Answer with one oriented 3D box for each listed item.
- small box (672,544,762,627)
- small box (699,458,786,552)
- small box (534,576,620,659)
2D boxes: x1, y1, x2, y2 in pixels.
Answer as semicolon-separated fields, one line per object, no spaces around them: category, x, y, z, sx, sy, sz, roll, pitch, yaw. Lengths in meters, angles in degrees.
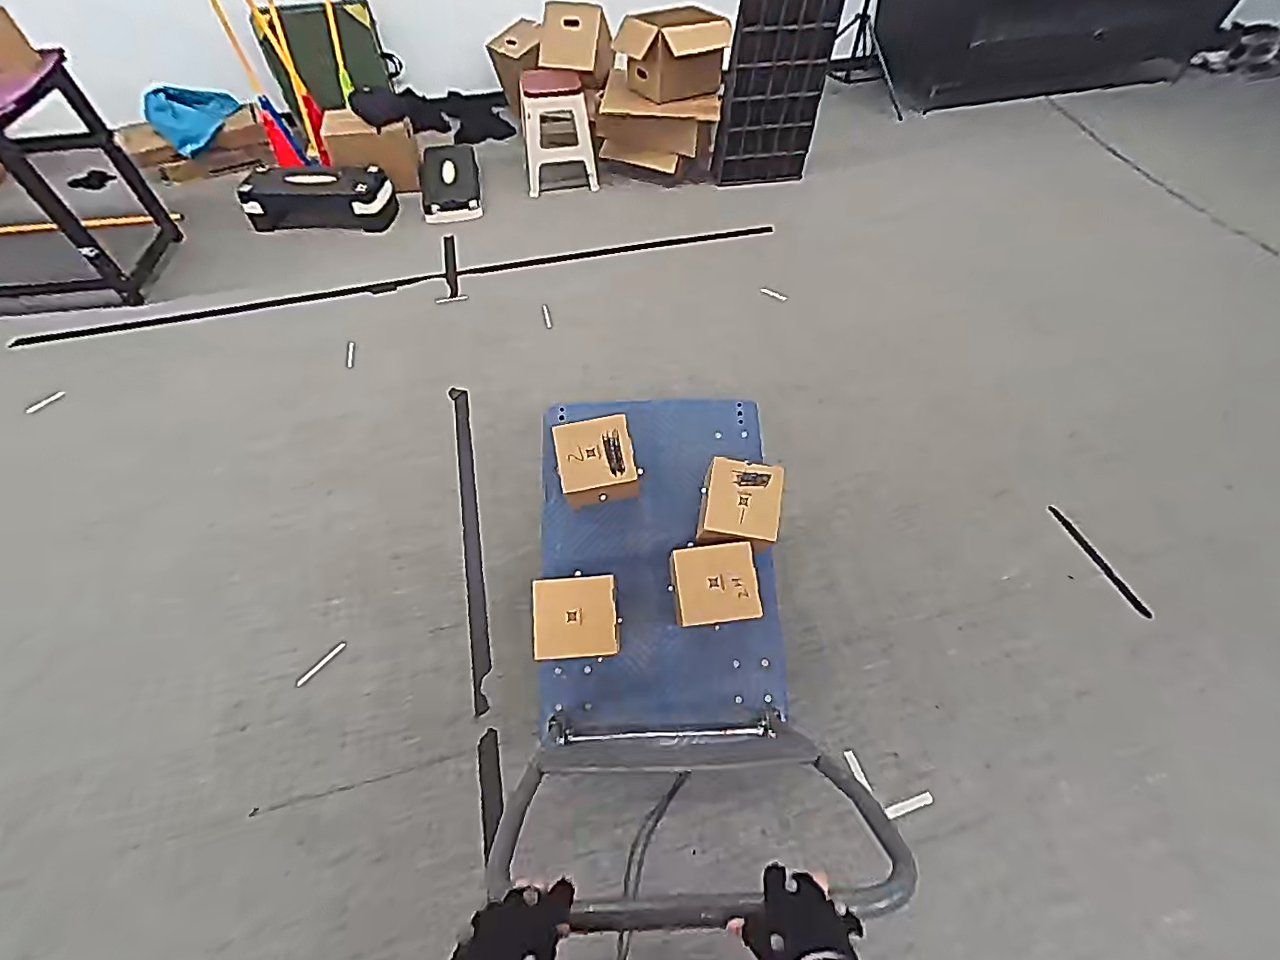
small box;0.168;0.247;1.242;0.179;0.176;0.168;-6;75;-2
small box;0.238;0.065;1.292;0.168;0.176;0.179;10;76;3
small box;-0.138;0.313;1.223;0.179;0.176;0.168;-4;75;-3
